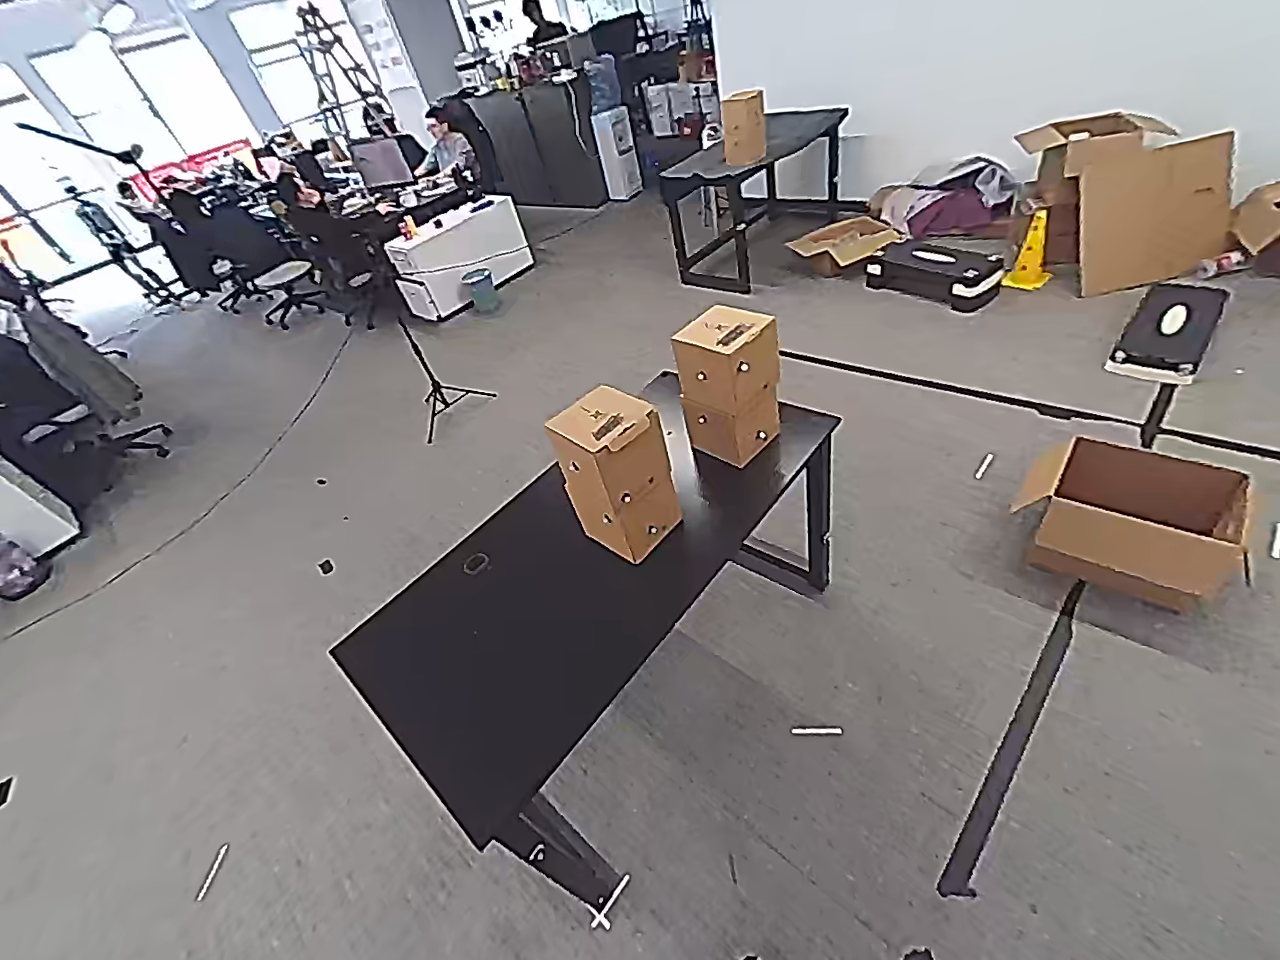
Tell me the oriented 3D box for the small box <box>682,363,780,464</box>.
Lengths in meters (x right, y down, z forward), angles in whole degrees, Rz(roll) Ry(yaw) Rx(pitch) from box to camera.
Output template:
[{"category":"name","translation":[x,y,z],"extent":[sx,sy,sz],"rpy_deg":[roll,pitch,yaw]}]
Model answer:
[{"category":"small box","translation":[0.233,-0.168,1.367],"extent":[0.168,0.176,0.179],"rpy_deg":[-41,46,-23]}]

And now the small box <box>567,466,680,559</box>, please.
[{"category":"small box","translation":[-0.032,0.049,1.227],"extent":[0.179,0.176,0.168],"rpy_deg":[25,56,37]}]

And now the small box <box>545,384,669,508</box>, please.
[{"category":"small box","translation":[-0.061,-0.066,1.113],"extent":[0.168,0.176,0.179],"rpy_deg":[-38,46,-23]}]
